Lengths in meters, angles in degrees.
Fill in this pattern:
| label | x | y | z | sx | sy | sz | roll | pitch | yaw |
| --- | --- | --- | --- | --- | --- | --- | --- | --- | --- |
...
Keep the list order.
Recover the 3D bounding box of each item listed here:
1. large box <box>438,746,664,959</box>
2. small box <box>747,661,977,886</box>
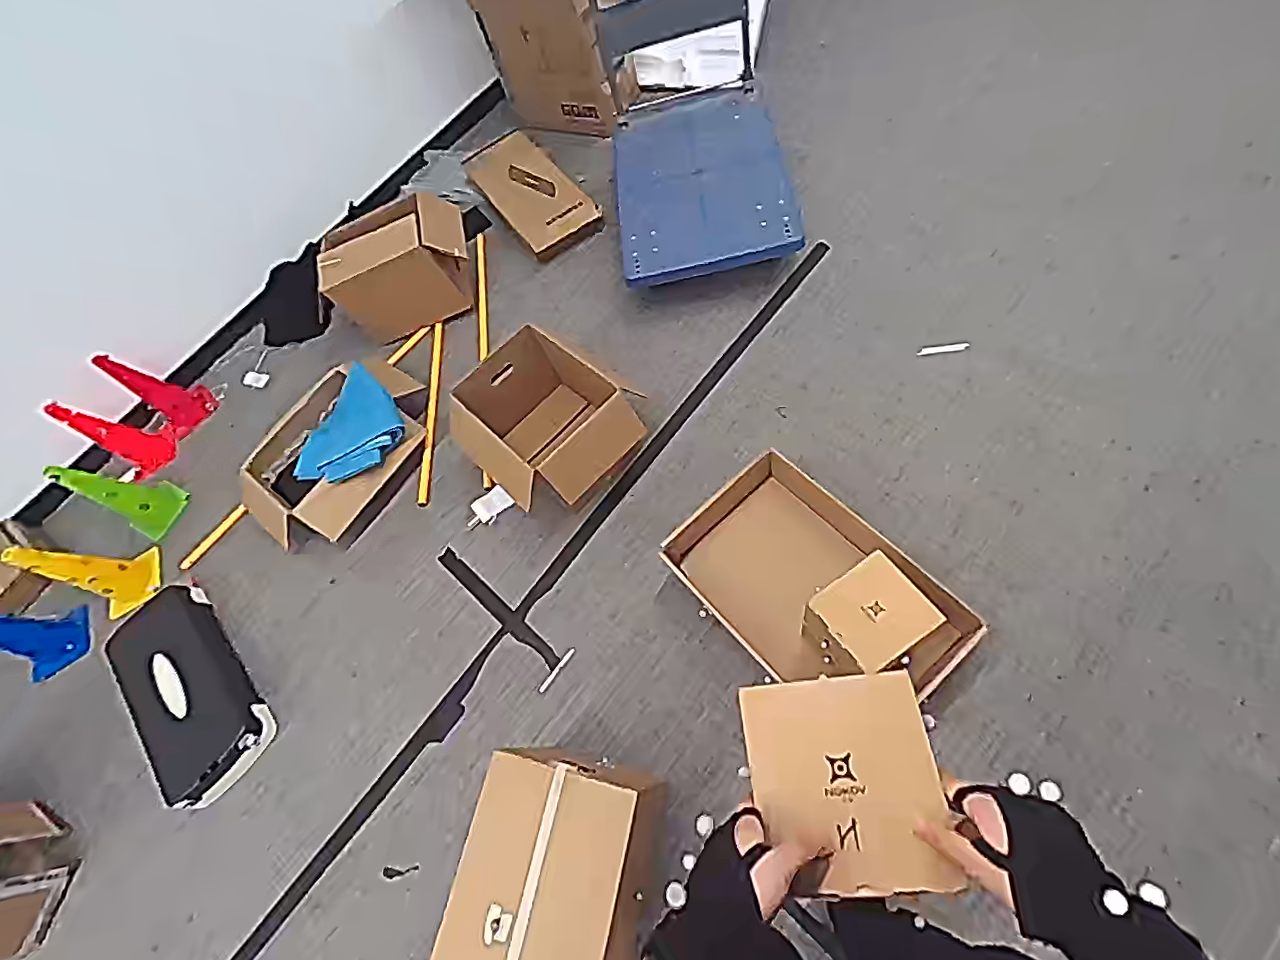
| label | x | y | z | sx | sy | sz | roll | pitch | yaw |
| --- | --- | --- | --- | --- | --- | --- | --- | --- | --- |
| large box | -0.155 | 0.800 | 1.110 | 0.320 | 0.320 | 0.408 | 6 | 68 | 18 |
| small box | 0.210 | 0.298 | 0.557 | 0.168 | 0.176 | 0.179 | -11 | 61 | 13 |
